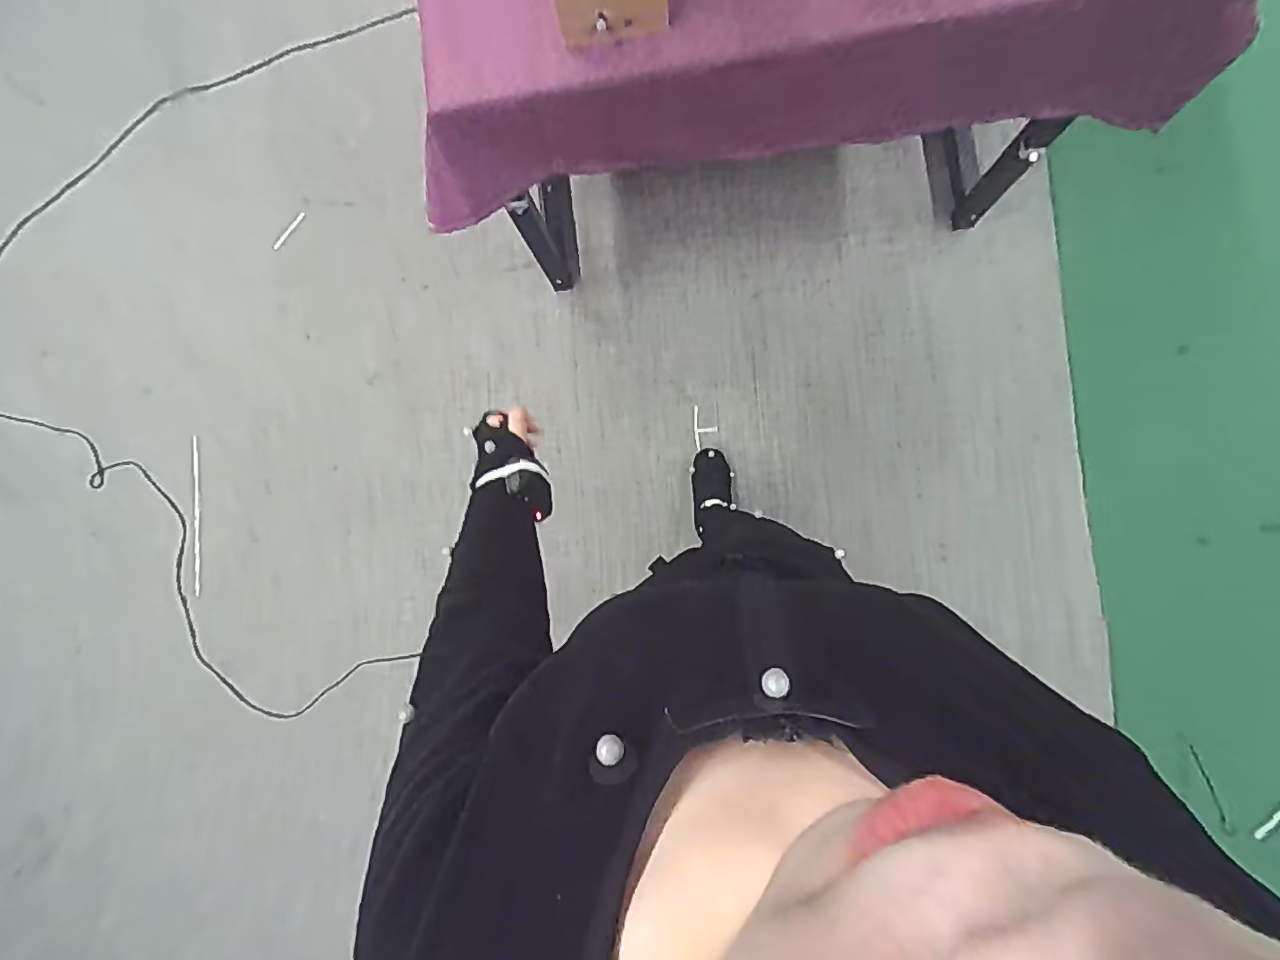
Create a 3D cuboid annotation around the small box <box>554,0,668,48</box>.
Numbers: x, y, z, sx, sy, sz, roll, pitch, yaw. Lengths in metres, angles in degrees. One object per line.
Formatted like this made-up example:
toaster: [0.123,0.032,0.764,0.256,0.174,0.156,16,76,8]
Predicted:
small box: [-0.050,-0.771,0.765,0.168,0.176,0.179,-6,86,6]
